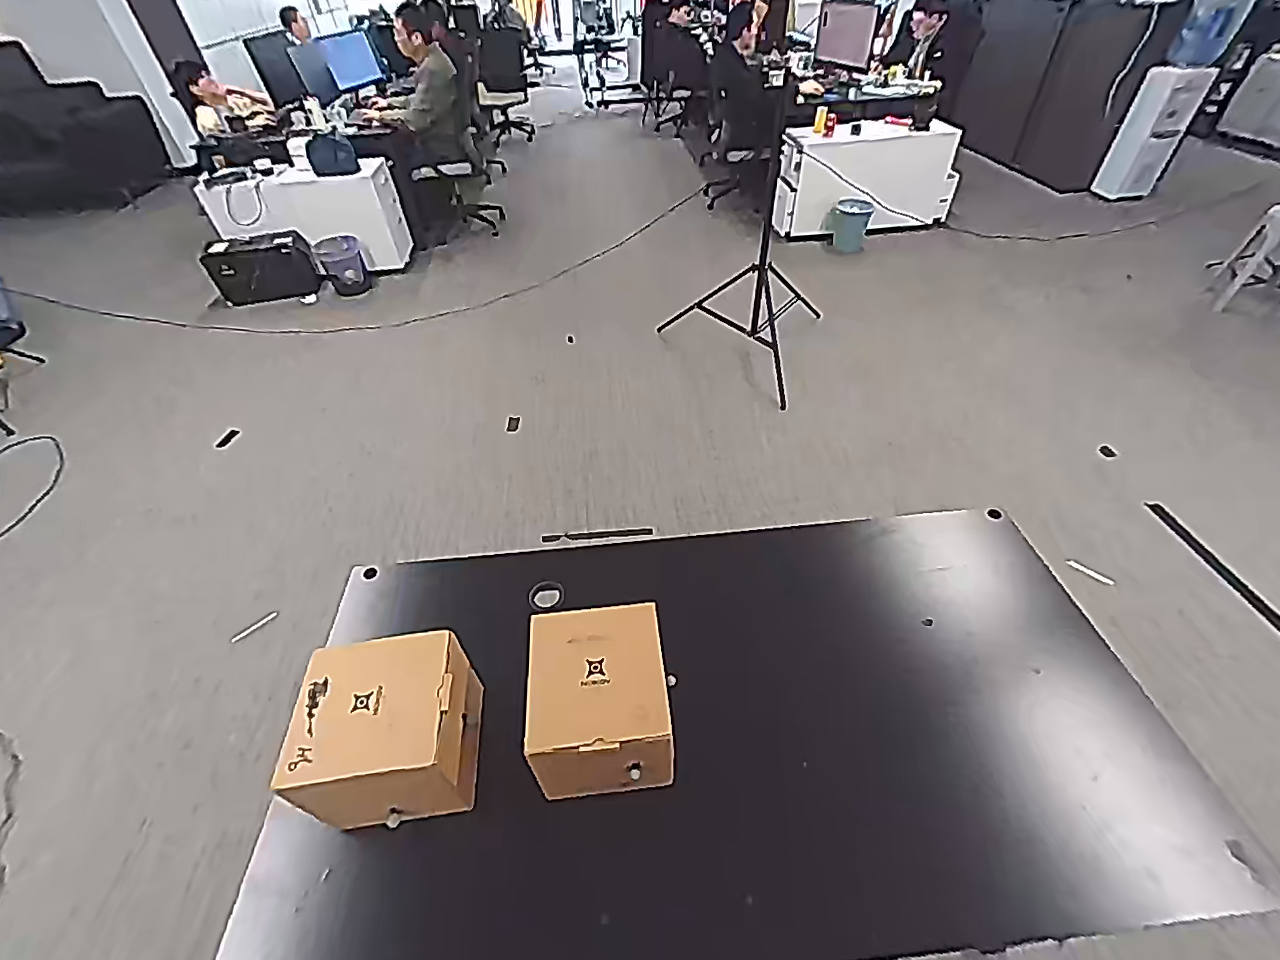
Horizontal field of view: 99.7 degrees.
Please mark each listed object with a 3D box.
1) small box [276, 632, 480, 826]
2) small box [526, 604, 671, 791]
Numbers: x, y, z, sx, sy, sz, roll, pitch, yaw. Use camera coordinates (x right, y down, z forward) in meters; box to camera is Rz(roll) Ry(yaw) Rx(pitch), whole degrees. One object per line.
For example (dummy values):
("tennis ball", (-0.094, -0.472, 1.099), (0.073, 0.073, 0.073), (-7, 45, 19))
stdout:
("small box", (-0.310, 0.318, 0.690), (0.179, 0.176, 0.168), (-6, 44, -5))
("small box", (-0.050, 0.289, 0.710), (0.168, 0.176, 0.179), (-5, 44, -4))
